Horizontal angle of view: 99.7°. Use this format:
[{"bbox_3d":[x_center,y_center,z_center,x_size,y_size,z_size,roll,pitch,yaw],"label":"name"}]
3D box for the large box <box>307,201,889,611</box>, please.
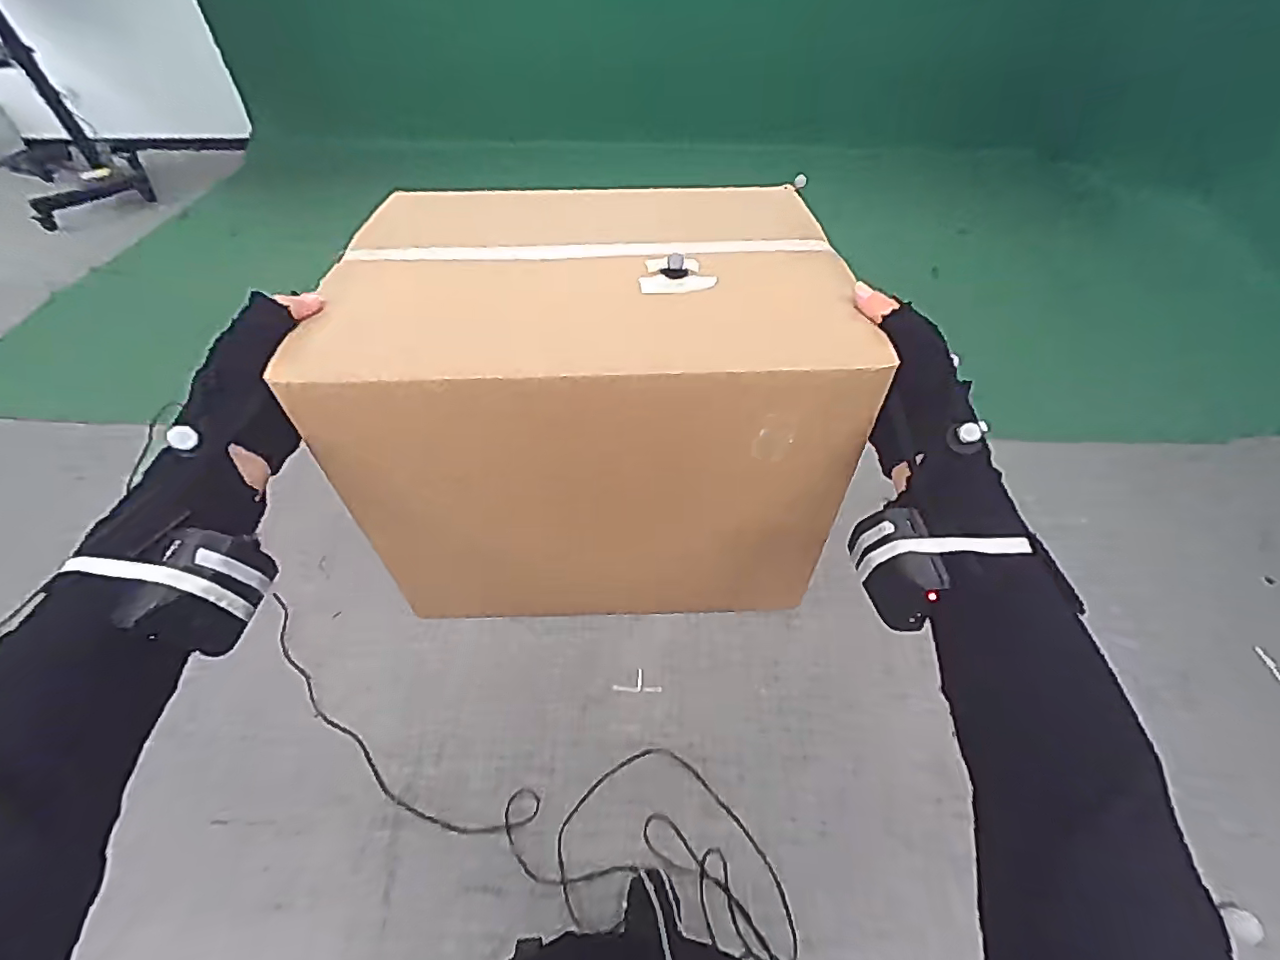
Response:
[{"bbox_3d":[-0.034,-0.077,0.572,0.408,0.320,0.320,-1,48,-2],"label":"large box"}]
